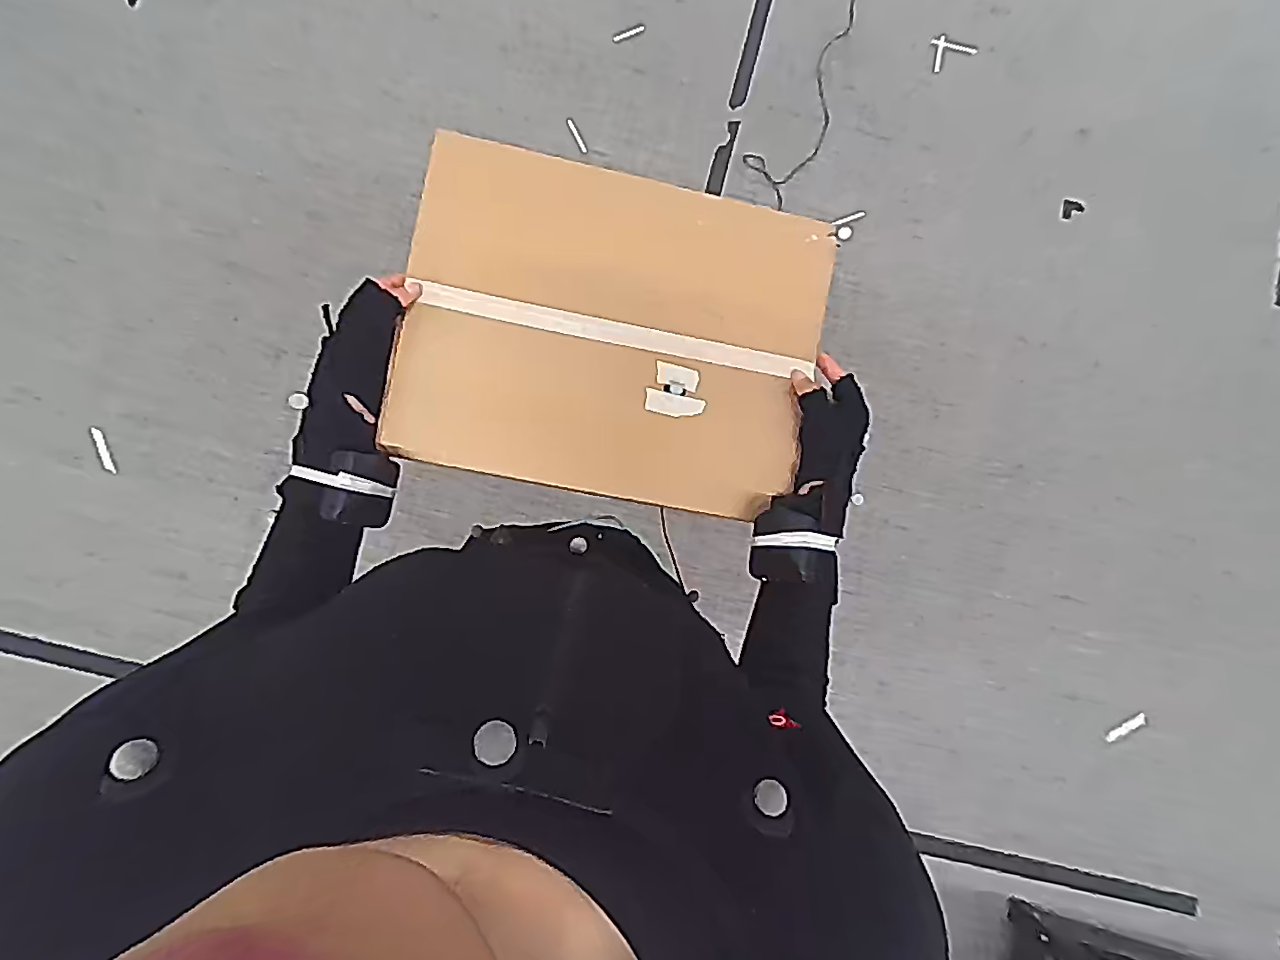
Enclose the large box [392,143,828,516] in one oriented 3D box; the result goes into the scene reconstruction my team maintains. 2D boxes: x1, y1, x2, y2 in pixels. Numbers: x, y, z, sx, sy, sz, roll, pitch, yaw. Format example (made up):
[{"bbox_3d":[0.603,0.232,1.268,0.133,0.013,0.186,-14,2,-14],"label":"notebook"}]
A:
[{"bbox_3d":[-0.039,-0.143,0.688,0.408,0.320,0.320,11,89,-7],"label":"large box"}]
